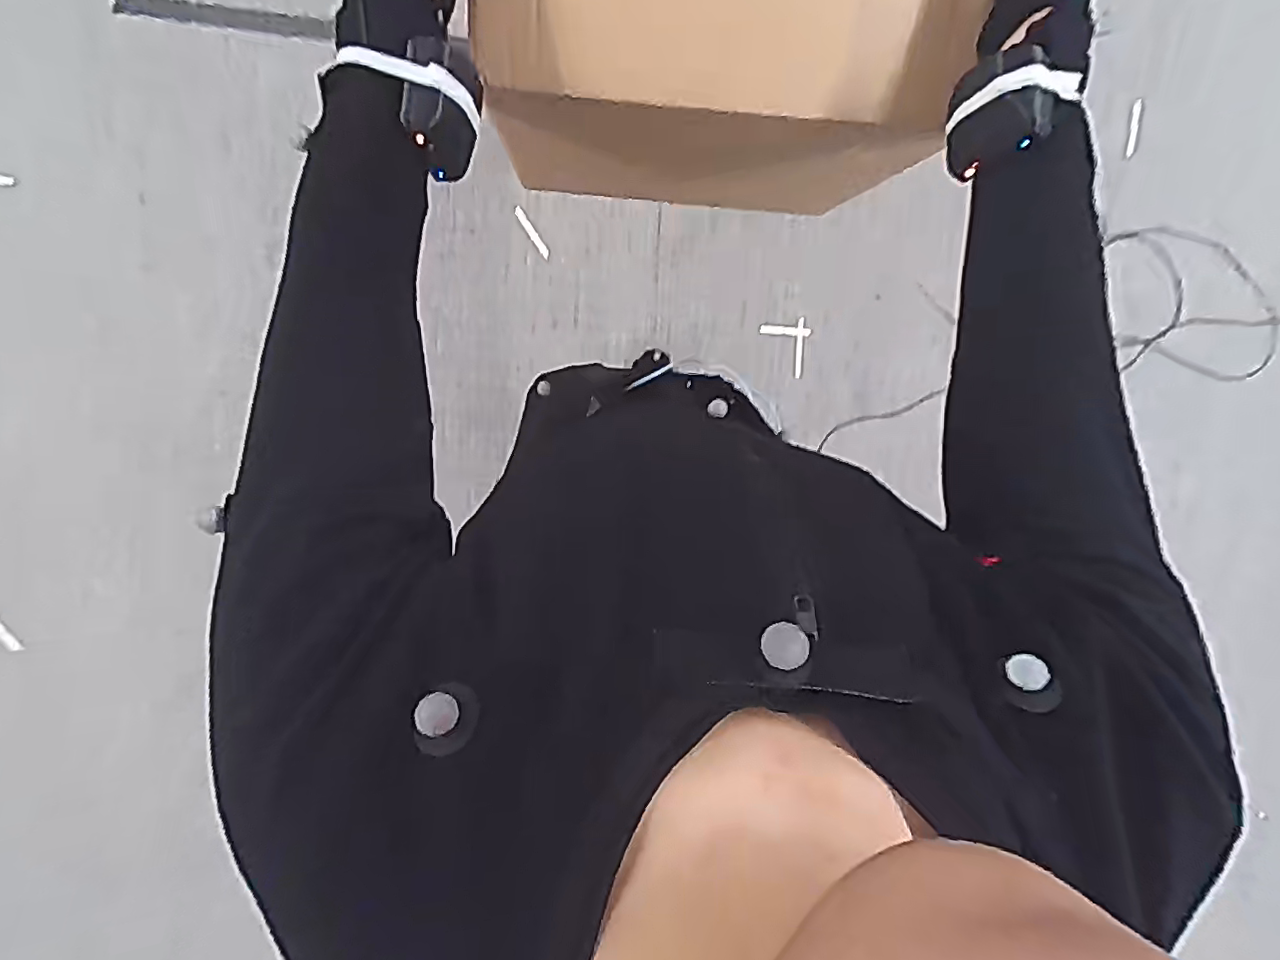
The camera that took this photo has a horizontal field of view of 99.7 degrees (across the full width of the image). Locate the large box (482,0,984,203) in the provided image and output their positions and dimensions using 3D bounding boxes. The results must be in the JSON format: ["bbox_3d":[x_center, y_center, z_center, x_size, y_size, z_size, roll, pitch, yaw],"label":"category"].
[{"bbox_3d":[0.067,-0.491,0.541,0.408,0.320,0.320,2,105,-6],"label":"large box"}]
